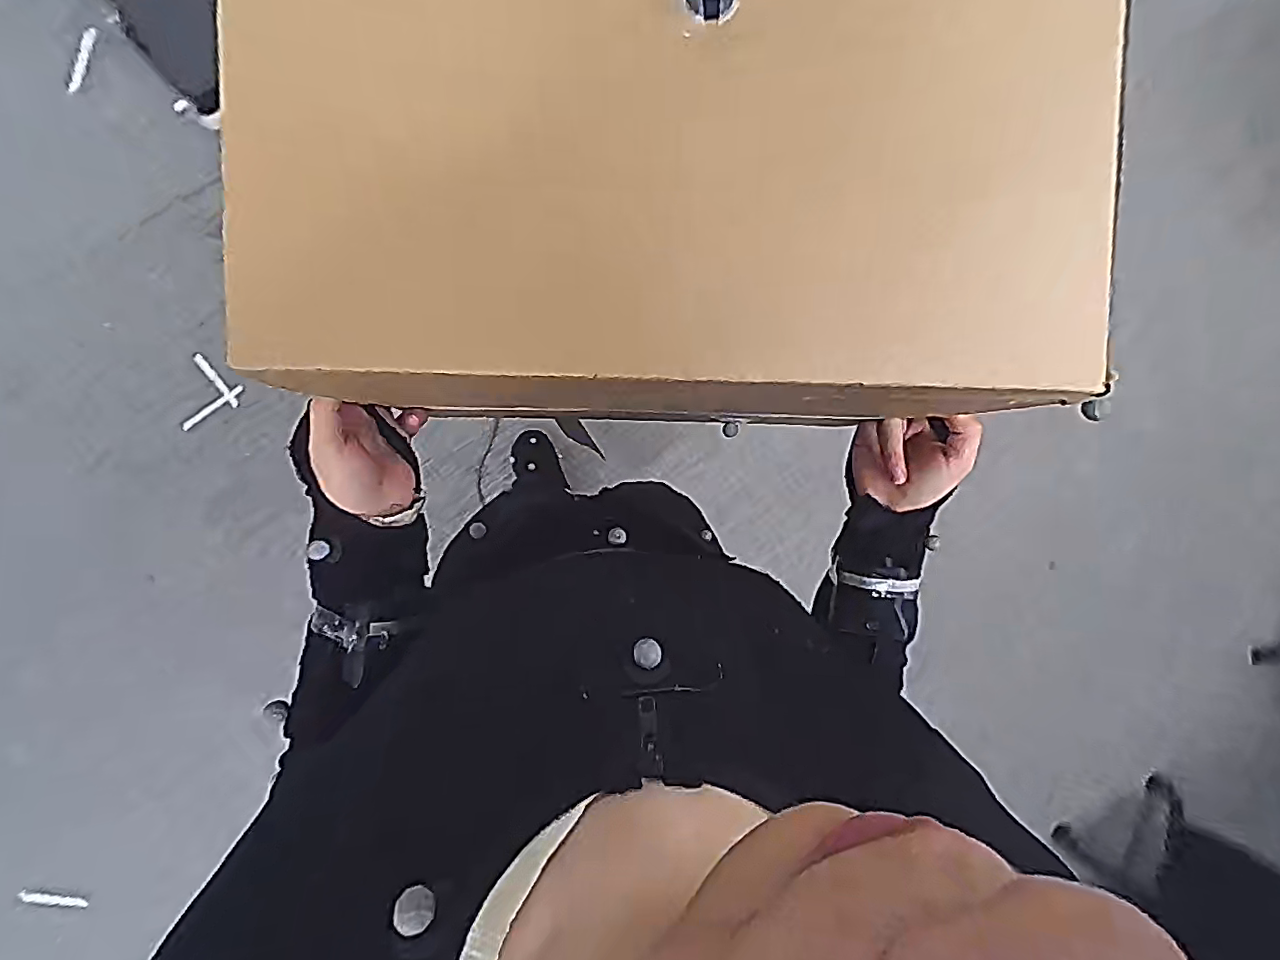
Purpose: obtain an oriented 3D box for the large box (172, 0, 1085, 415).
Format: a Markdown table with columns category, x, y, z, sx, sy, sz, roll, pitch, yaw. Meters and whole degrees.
| category | x | y | z | sx | sy | sz | roll | pitch | yaw |
| --- | --- | --- | --- | --- | --- | --- | --- | --- | --- |
| large box | -0.006 | -0.213 | 0.380 | 0.408 | 0.320 | 0.320 | -2 | 95 | -4 |
